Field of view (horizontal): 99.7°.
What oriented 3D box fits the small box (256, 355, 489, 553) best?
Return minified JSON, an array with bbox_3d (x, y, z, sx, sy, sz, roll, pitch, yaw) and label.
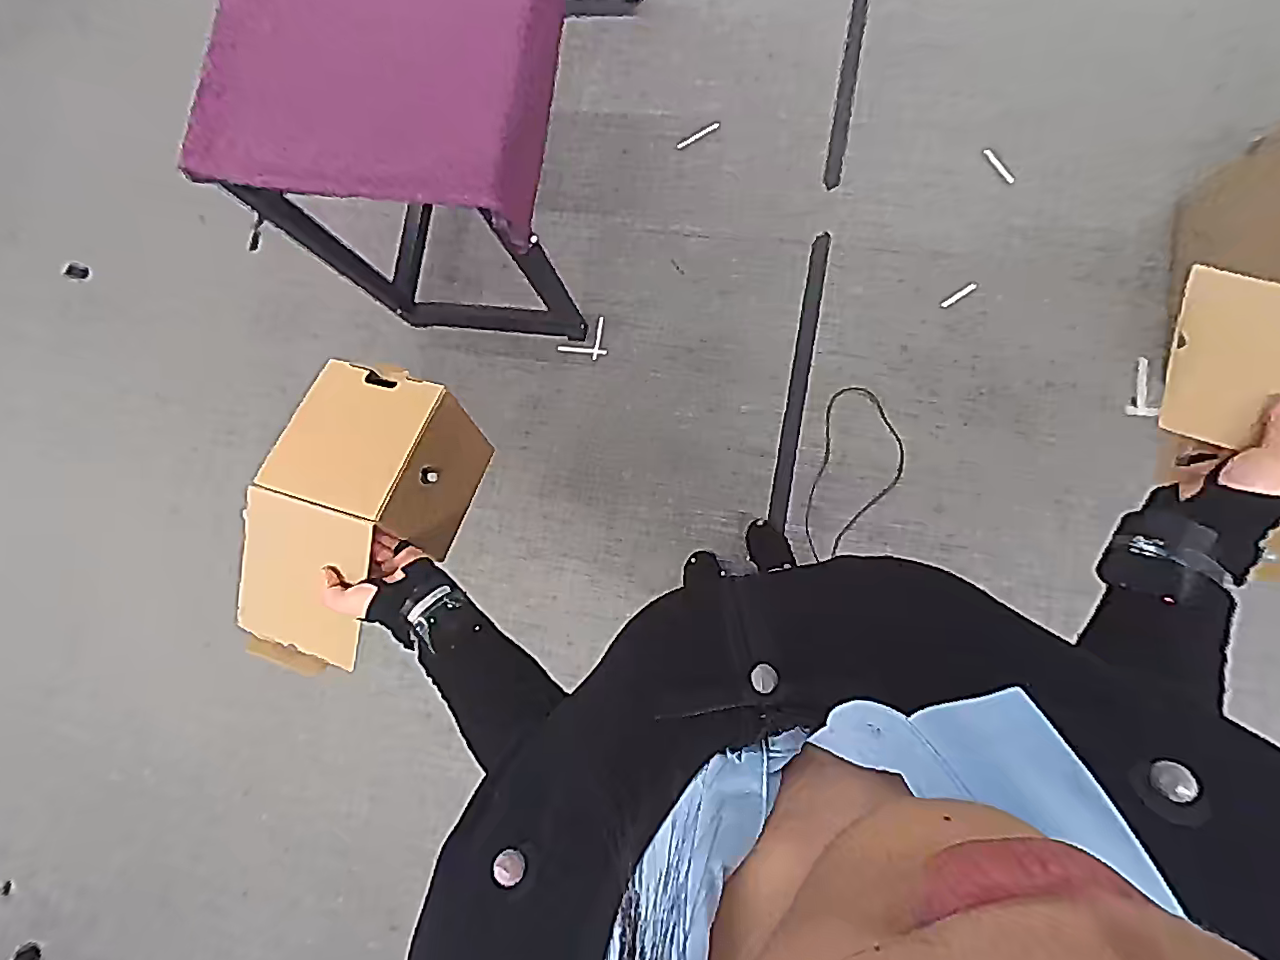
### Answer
[{"bbox_3d":[-0.316,-0.024,0.684,0.168,0.176,0.179,16,69,12],"label":"small box"}]
